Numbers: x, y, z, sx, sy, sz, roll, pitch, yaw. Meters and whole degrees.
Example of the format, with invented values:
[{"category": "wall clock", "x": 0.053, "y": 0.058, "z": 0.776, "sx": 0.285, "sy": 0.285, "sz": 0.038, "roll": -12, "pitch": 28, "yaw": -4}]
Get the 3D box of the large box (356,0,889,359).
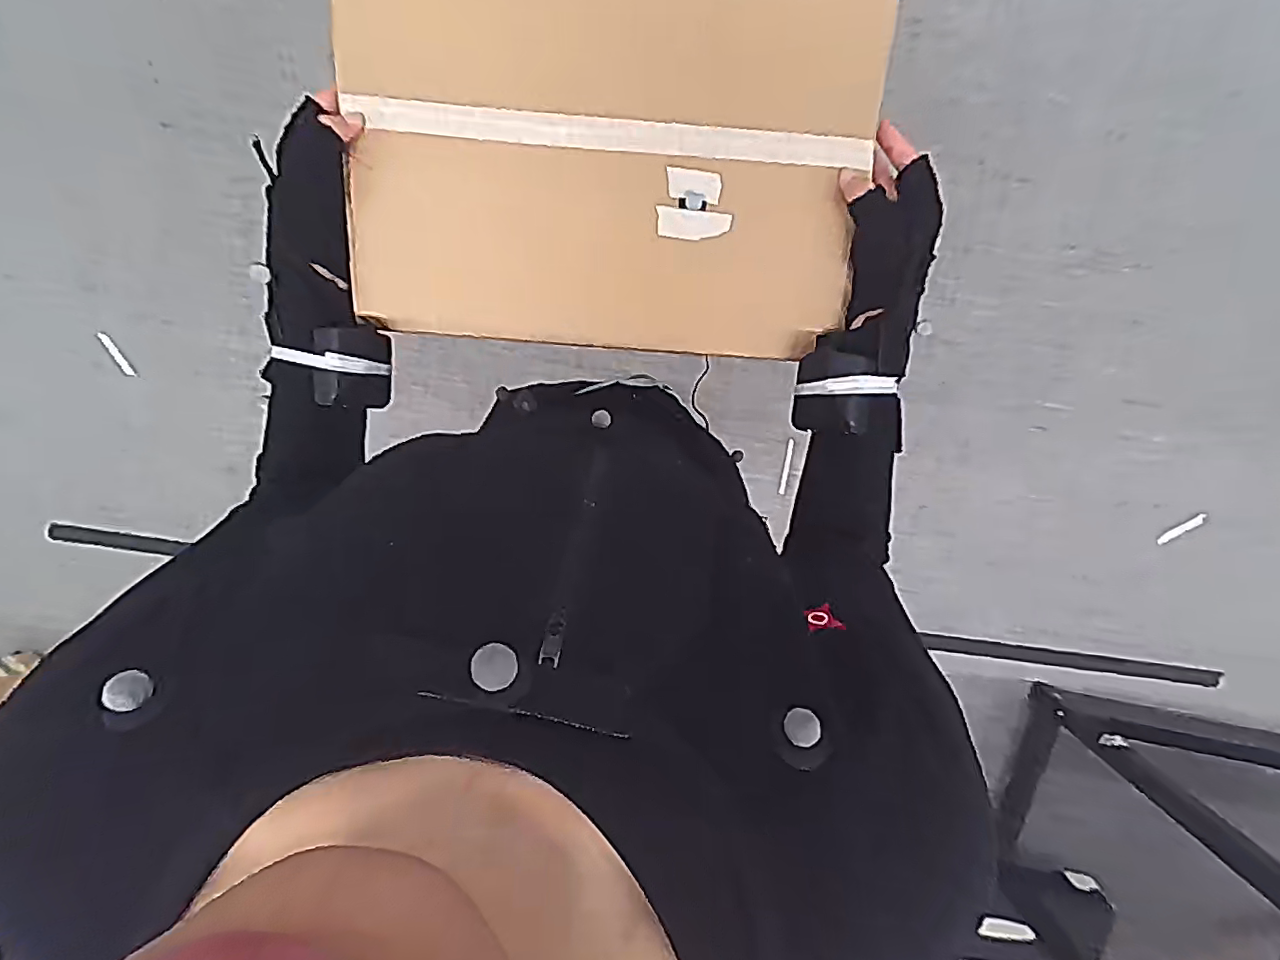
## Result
[{"category": "large box", "x": -0.024, "y": -0.302, "z": 0.571, "sx": 0.408, "sy": 0.320, "sz": 0.320, "roll": 3, "pitch": 106, "yaw": -3}]
